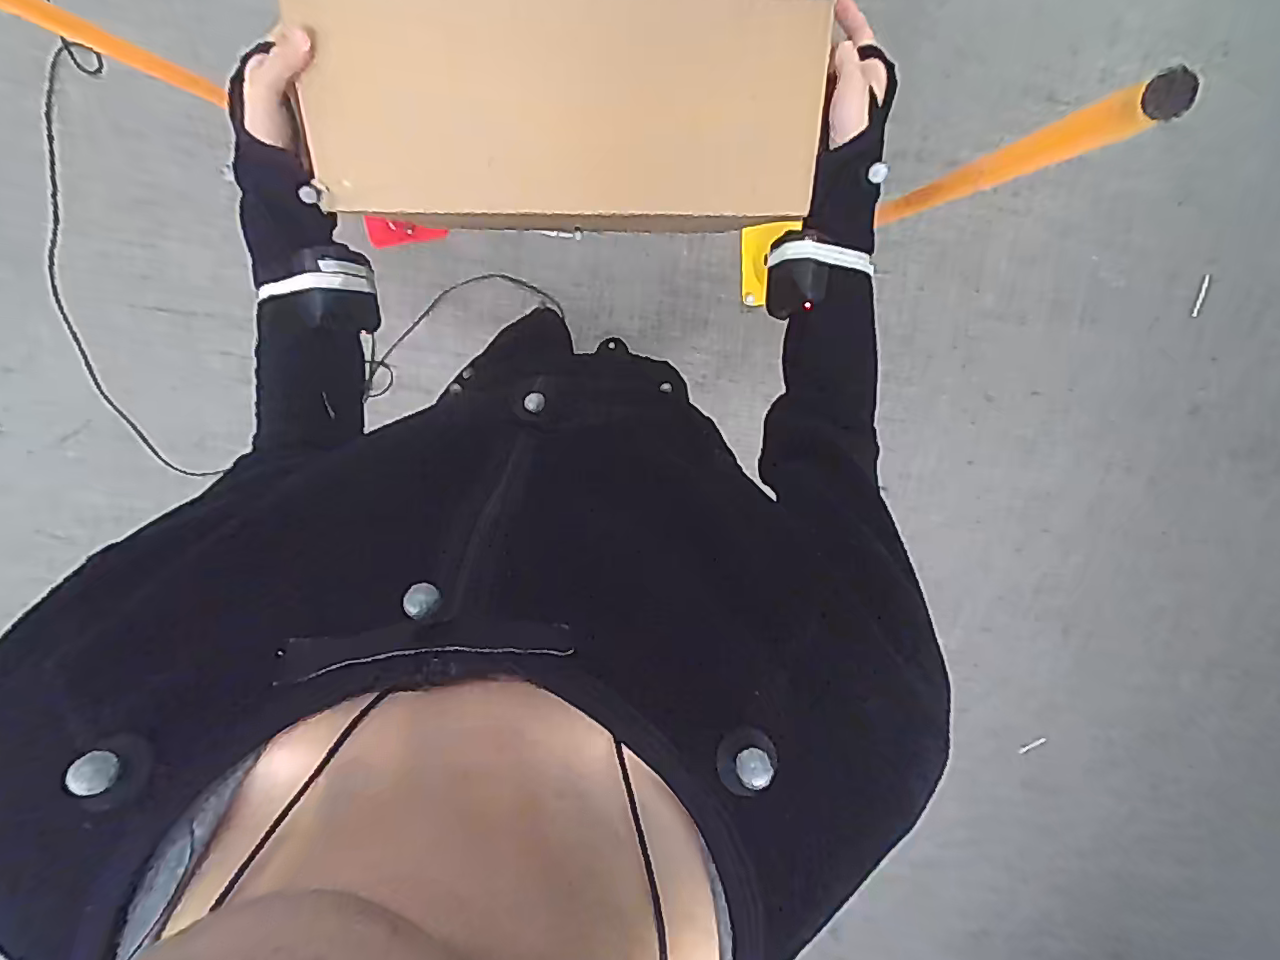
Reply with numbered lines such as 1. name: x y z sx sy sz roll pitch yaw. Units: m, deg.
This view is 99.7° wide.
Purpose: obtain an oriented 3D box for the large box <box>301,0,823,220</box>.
1. large box: -0.063 -0.437 0.542 0.408 0.320 0.320 -2 112 -4
